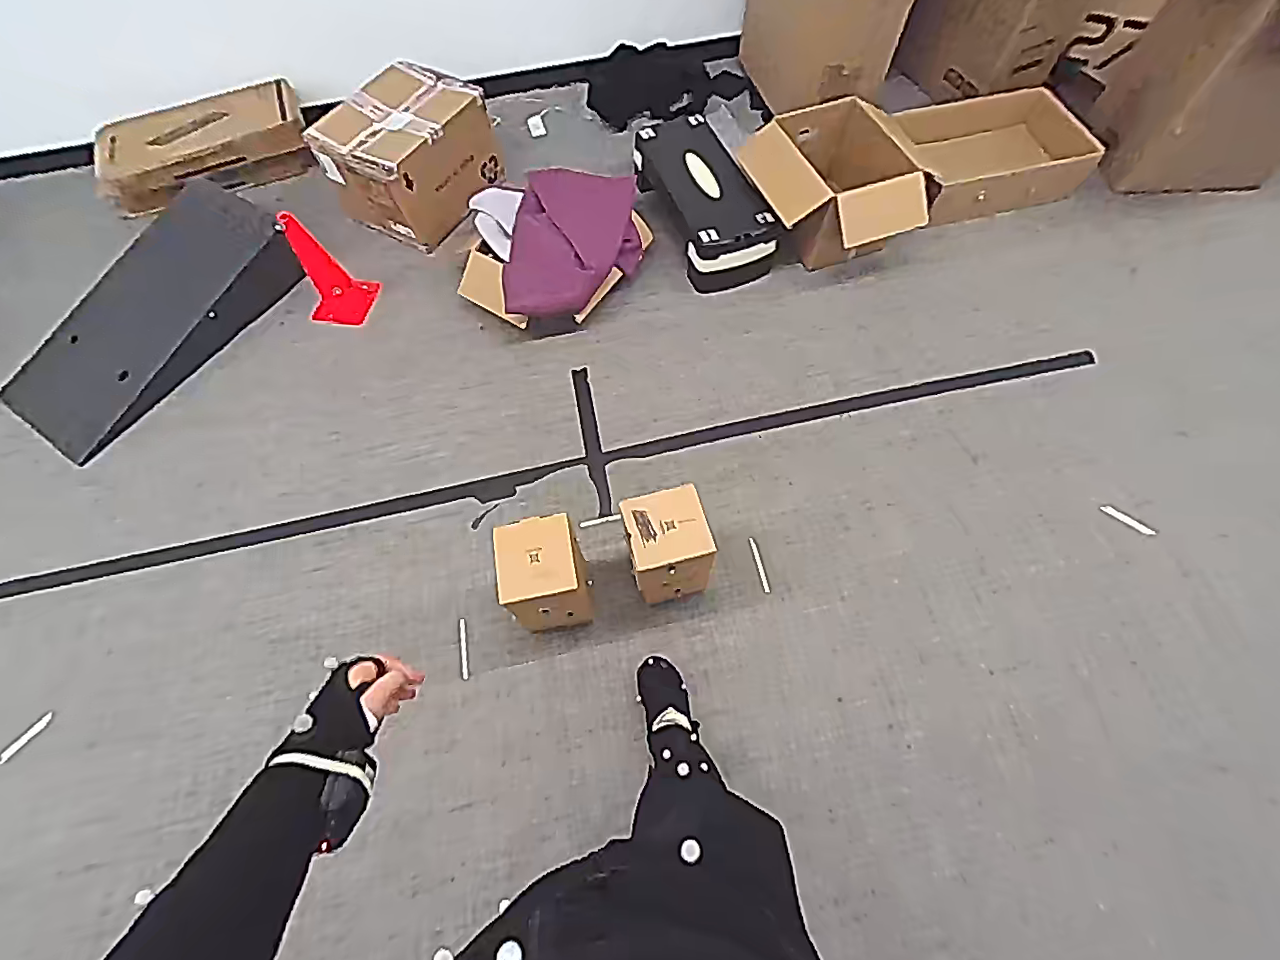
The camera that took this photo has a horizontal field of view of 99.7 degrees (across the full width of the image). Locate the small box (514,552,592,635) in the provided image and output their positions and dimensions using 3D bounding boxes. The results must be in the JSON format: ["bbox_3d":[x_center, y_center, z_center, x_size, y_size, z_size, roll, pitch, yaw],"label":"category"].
[{"bbox_3d":[-0.219,0.284,1.367,0.179,0.176,0.168,-11,64,-2],"label":"small box"}]

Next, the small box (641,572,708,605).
[{"bbox_3d":[0.070,0.213,1.394,0.168,0.176,0.179,-14,65,-5],"label":"small box"}]

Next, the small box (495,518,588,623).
[{"bbox_3d":[-0.218,0.208,1.223,0.168,0.176,0.179,-12,66,-2],"label":"small box"}]

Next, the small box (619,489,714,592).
[{"bbox_3d":[0.058,0.146,1.242,0.179,0.176,0.168,-14,65,-5],"label":"small box"}]
